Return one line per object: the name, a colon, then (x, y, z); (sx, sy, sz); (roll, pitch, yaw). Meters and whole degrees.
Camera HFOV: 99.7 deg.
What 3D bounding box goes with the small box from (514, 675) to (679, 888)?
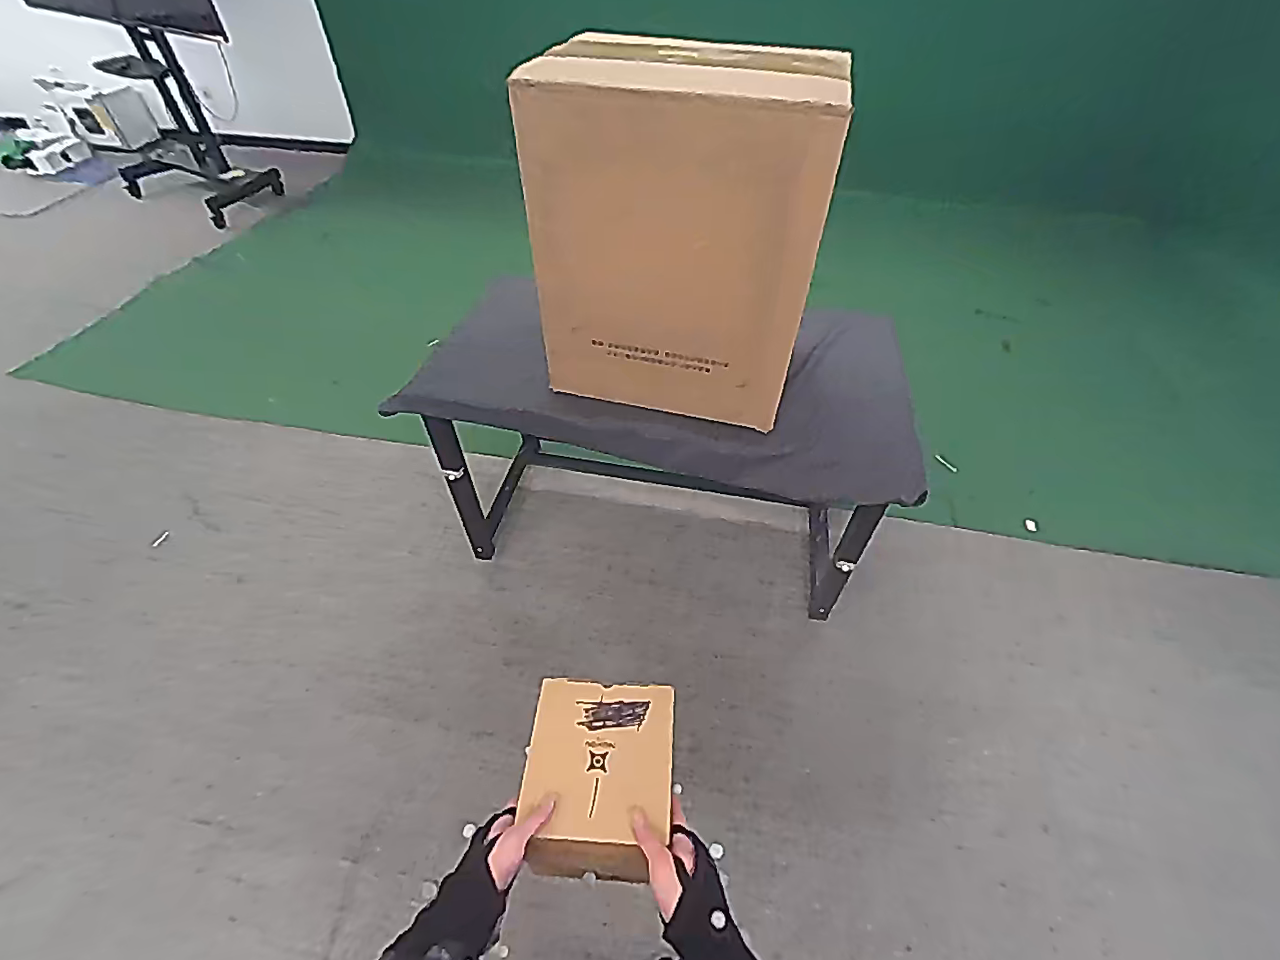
small box: (-0.043, 0.370, 0.668); (0.168, 0.176, 0.179); (4, 43, 5)
